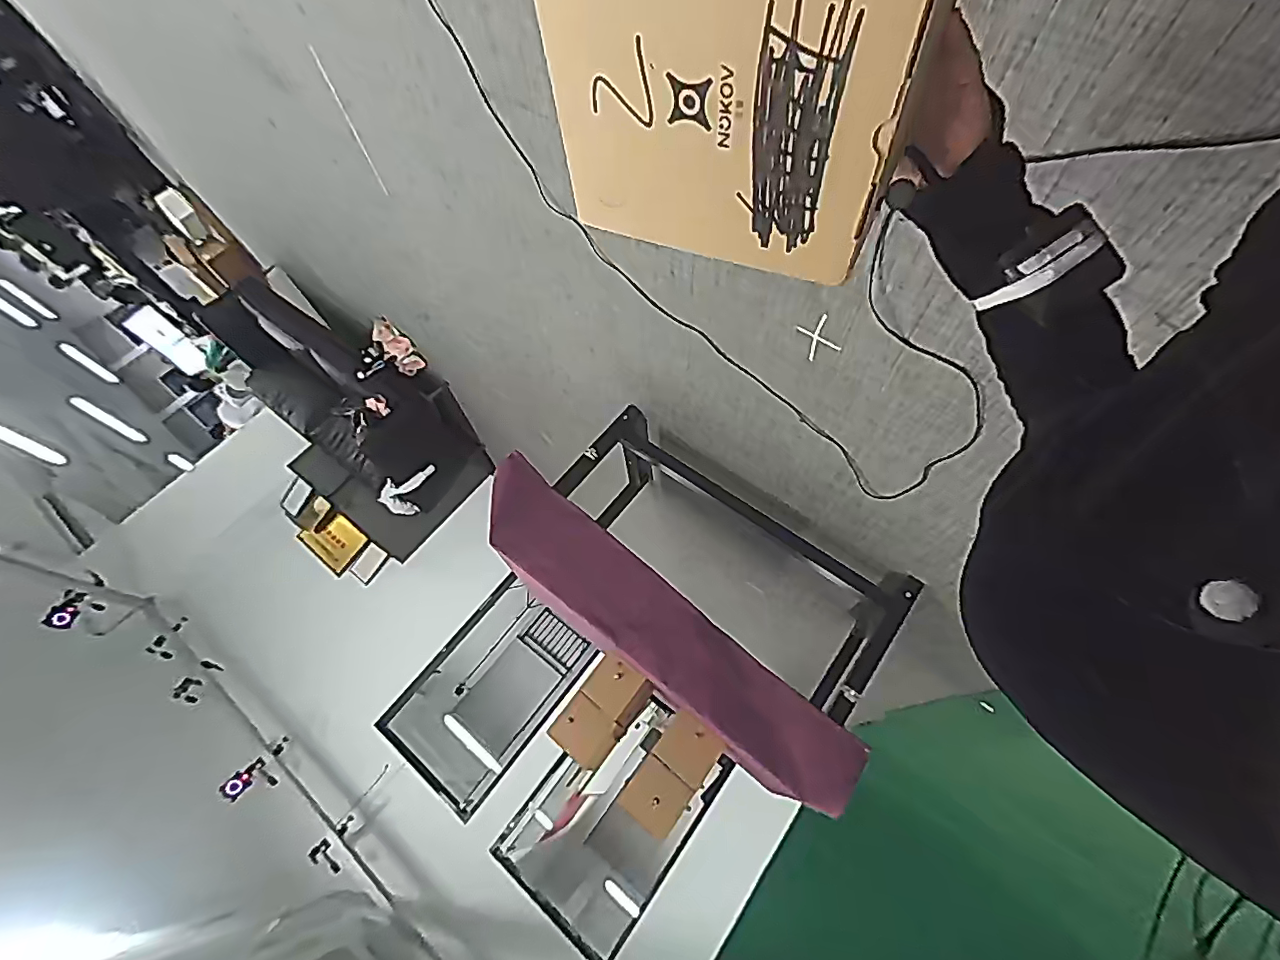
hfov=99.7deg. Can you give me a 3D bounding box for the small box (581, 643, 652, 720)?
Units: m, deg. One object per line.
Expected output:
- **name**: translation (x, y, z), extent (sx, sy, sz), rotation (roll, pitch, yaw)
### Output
- **small box**: translation (-0.073, 0.693, 1.864), extent (0.168, 0.176, 0.179), rotation (31, 158, 26)

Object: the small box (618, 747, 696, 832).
- **small box**: translation (0.057, 0.964, 1.703), extent (0.179, 0.176, 0.168), rotation (33, 159, 21)

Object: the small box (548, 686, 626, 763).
- **small box**: translation (-0.172, 0.810, 1.808), extent (0.179, 0.176, 0.168), rotation (31, 160, 24)

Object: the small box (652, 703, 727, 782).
- **small box**: translation (0.160, 0.847, 1.755), extent (0.179, 0.176, 0.168), rotation (34, 160, 21)
